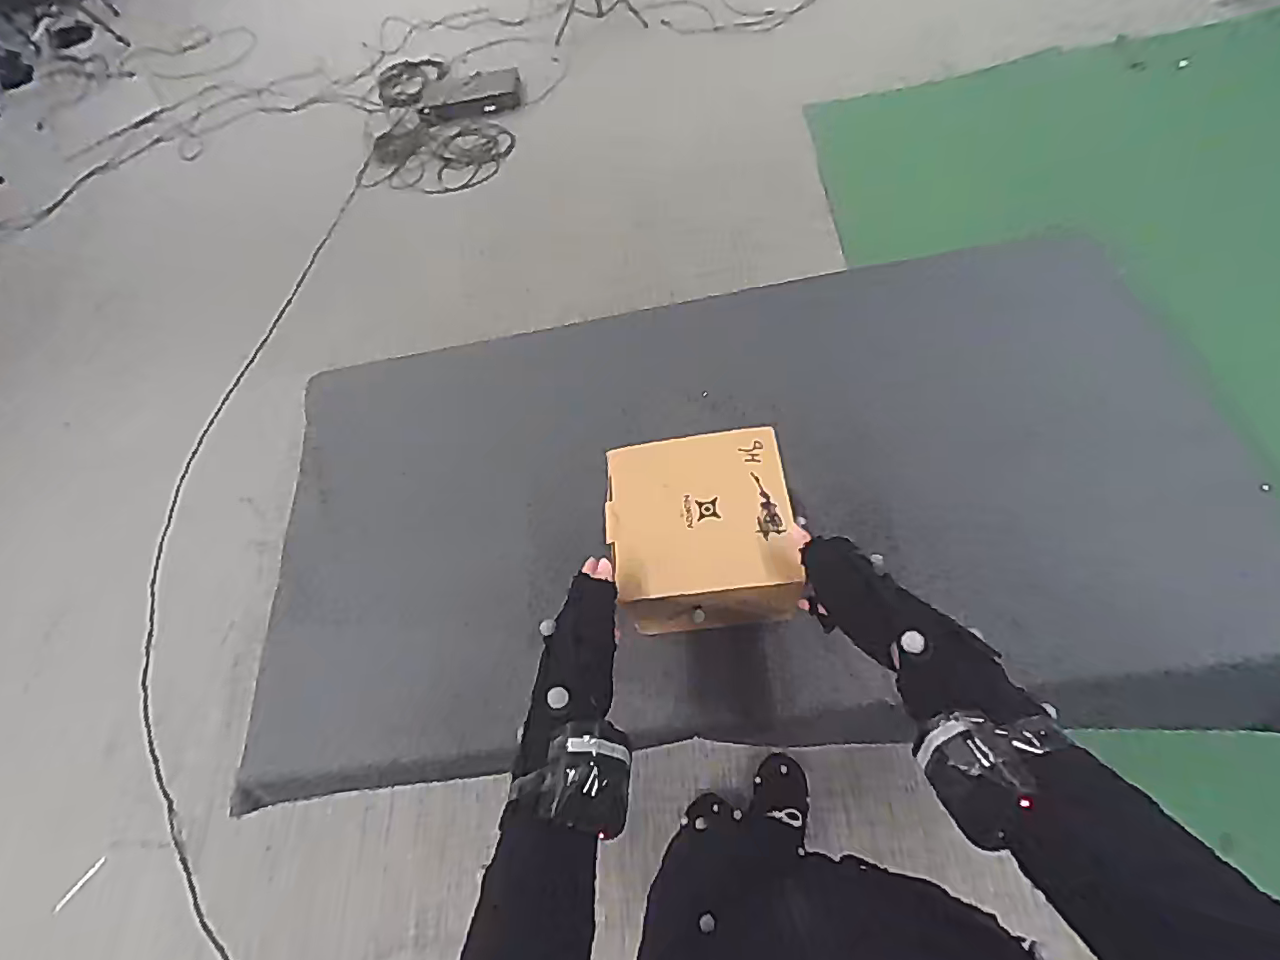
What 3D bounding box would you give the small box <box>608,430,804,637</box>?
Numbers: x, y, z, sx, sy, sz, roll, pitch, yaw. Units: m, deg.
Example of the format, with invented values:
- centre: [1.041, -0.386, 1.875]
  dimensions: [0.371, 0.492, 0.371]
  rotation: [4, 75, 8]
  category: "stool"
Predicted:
- centre: [0.071, 0.069, 0.607]
  dimensions: [0.179, 0.176, 0.168]
  rotation: [-10, 61, 4]
  category: "small box"
